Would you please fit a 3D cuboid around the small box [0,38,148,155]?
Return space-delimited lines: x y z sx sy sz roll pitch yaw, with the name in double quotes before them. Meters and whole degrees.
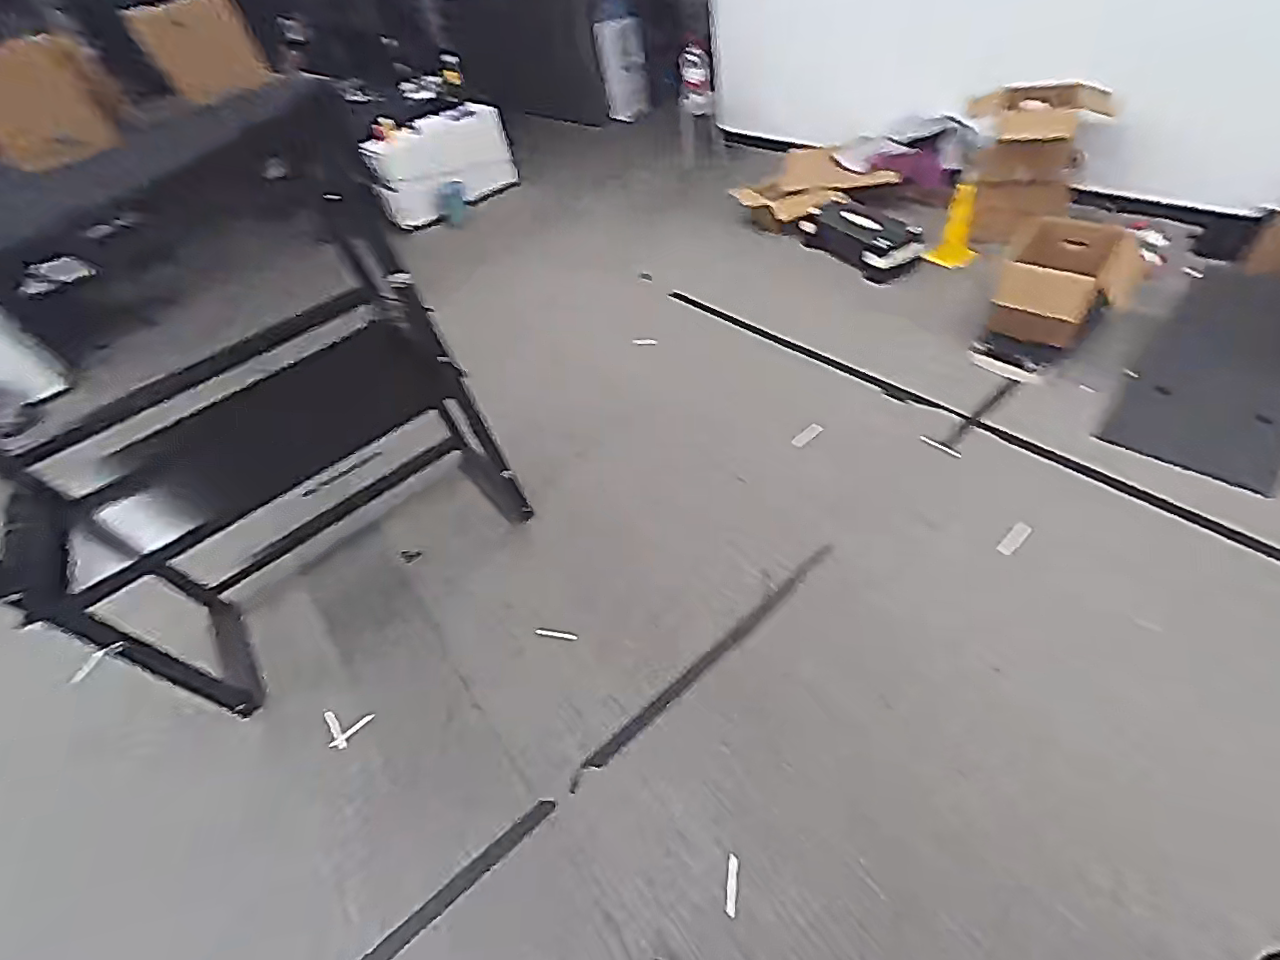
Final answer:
"small box" -1.215 -0.827 1.167 0.168 0.176 0.179 -35 50 -18
